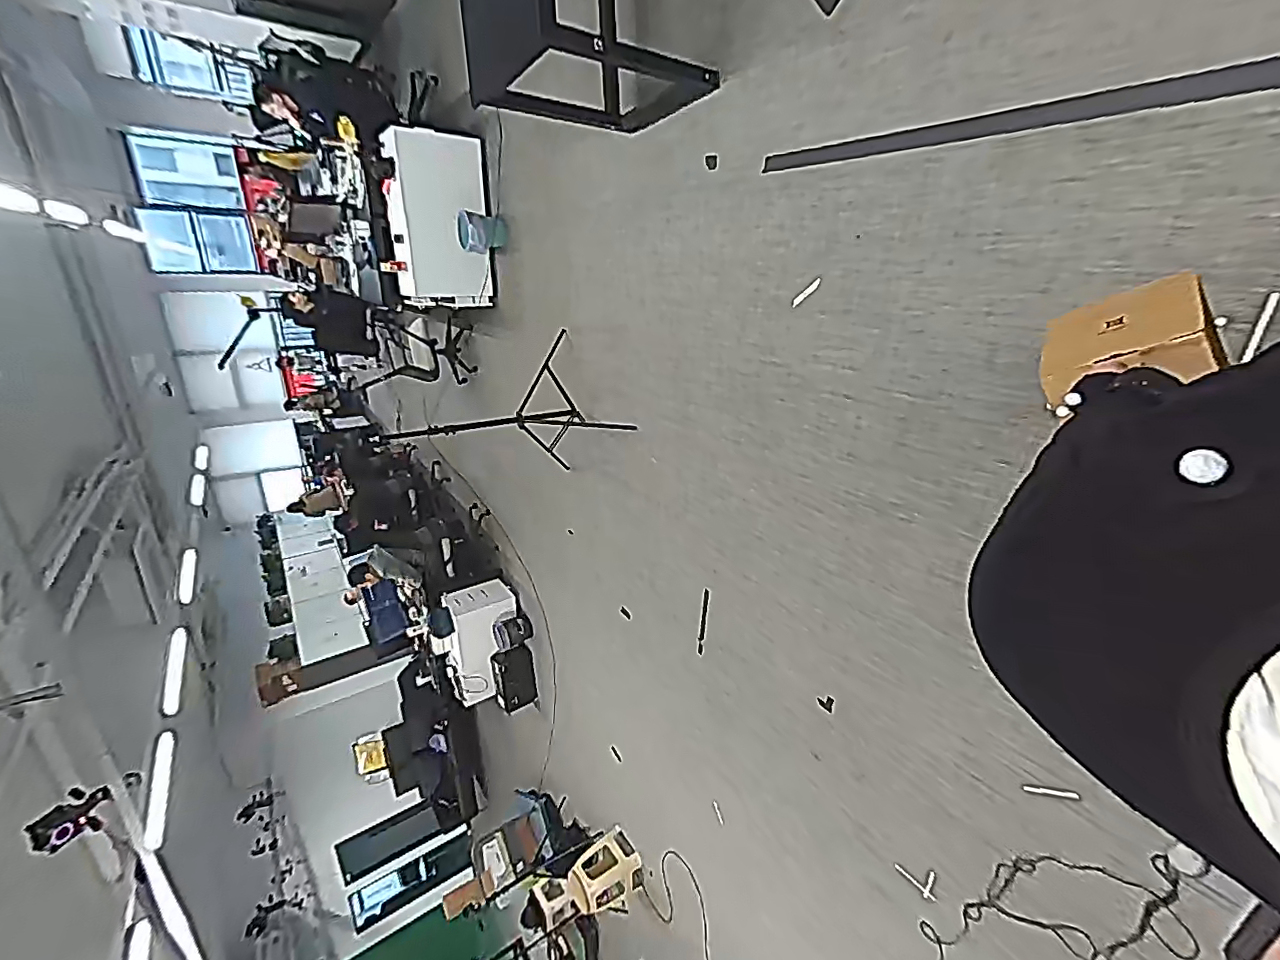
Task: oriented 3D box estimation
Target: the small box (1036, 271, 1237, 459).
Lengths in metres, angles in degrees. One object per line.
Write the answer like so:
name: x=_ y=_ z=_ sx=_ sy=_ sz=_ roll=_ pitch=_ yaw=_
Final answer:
small box: x=0.687 y=-0.146 z=0.754 sx=0.176 sy=0.179 sz=0.168 roll=50 pitch=144 yaw=-18
